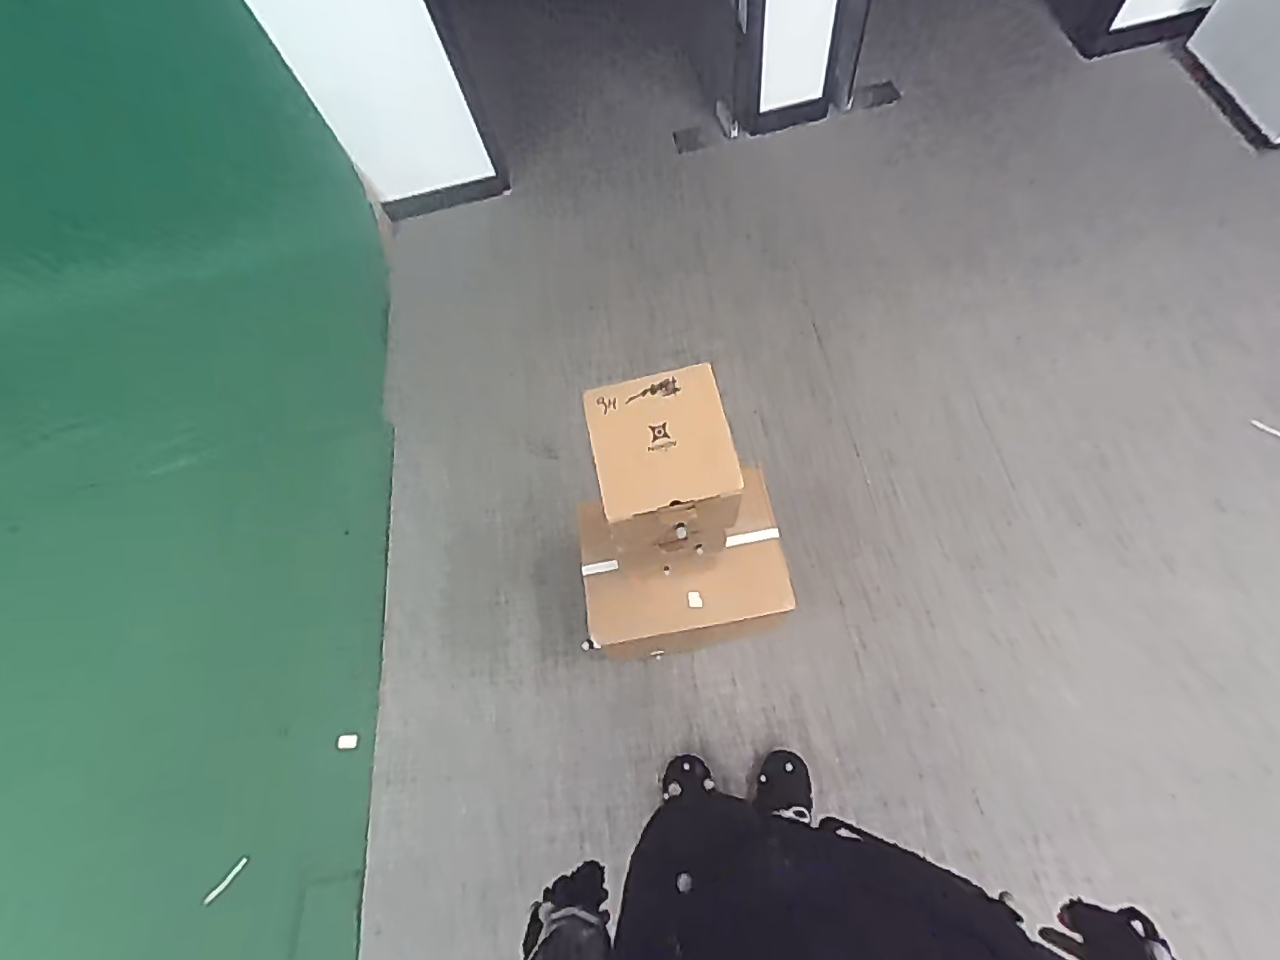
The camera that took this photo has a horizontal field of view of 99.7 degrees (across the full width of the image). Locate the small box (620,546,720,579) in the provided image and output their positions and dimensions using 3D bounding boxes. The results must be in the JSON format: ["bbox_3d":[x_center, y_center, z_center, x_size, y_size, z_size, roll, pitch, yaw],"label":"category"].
[{"bbox_3d":[0.048,0.088,1.037,0.179,0.176,0.168,-12,72,3],"label":"small box"}]

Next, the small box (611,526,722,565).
[{"bbox_3d":[0.035,0.035,0.884,0.168,0.176,0.179,-14,70,2],"label":"small box"}]

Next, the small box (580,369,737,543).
[{"bbox_3d":[0.028,-0.019,0.730,0.168,0.176,0.179,-14,72,3],"label":"small box"}]
